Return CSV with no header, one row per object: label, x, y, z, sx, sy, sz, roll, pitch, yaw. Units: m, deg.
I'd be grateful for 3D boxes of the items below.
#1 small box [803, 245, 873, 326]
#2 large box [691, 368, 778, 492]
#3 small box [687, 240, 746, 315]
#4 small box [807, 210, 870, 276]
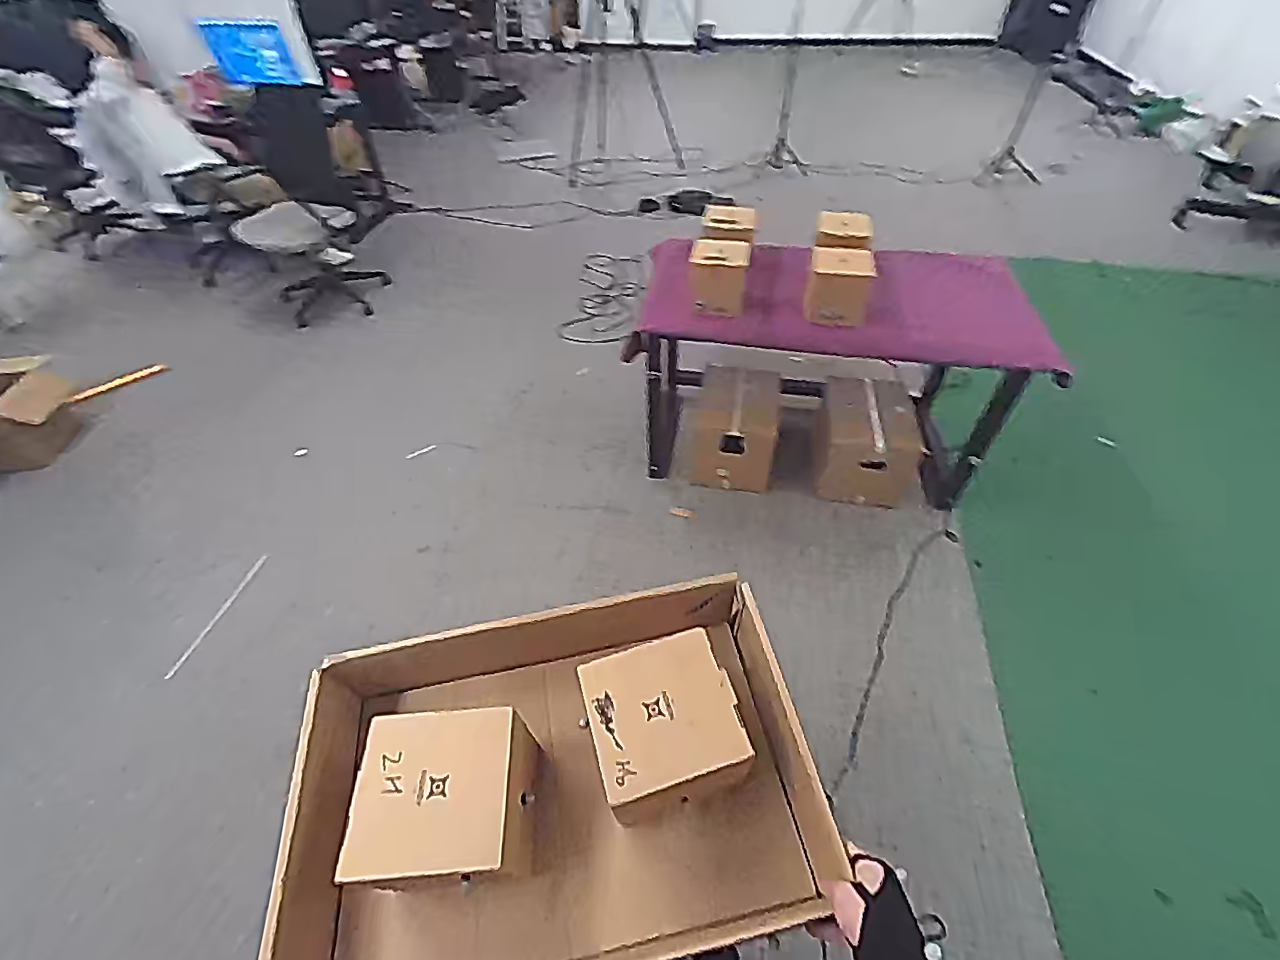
small box,0.595,-0.589,1.640,0.168,0.176,0.179,8,47,11
large box,0.381,-0.203,2.196,0.320,0.320,0.408,7,47,9
small box,0.240,-0.635,1.697,0.168,0.176,0.179,7,46,8
small box,0.664,-0.784,1.822,0.168,0.176,0.179,9,49,10
